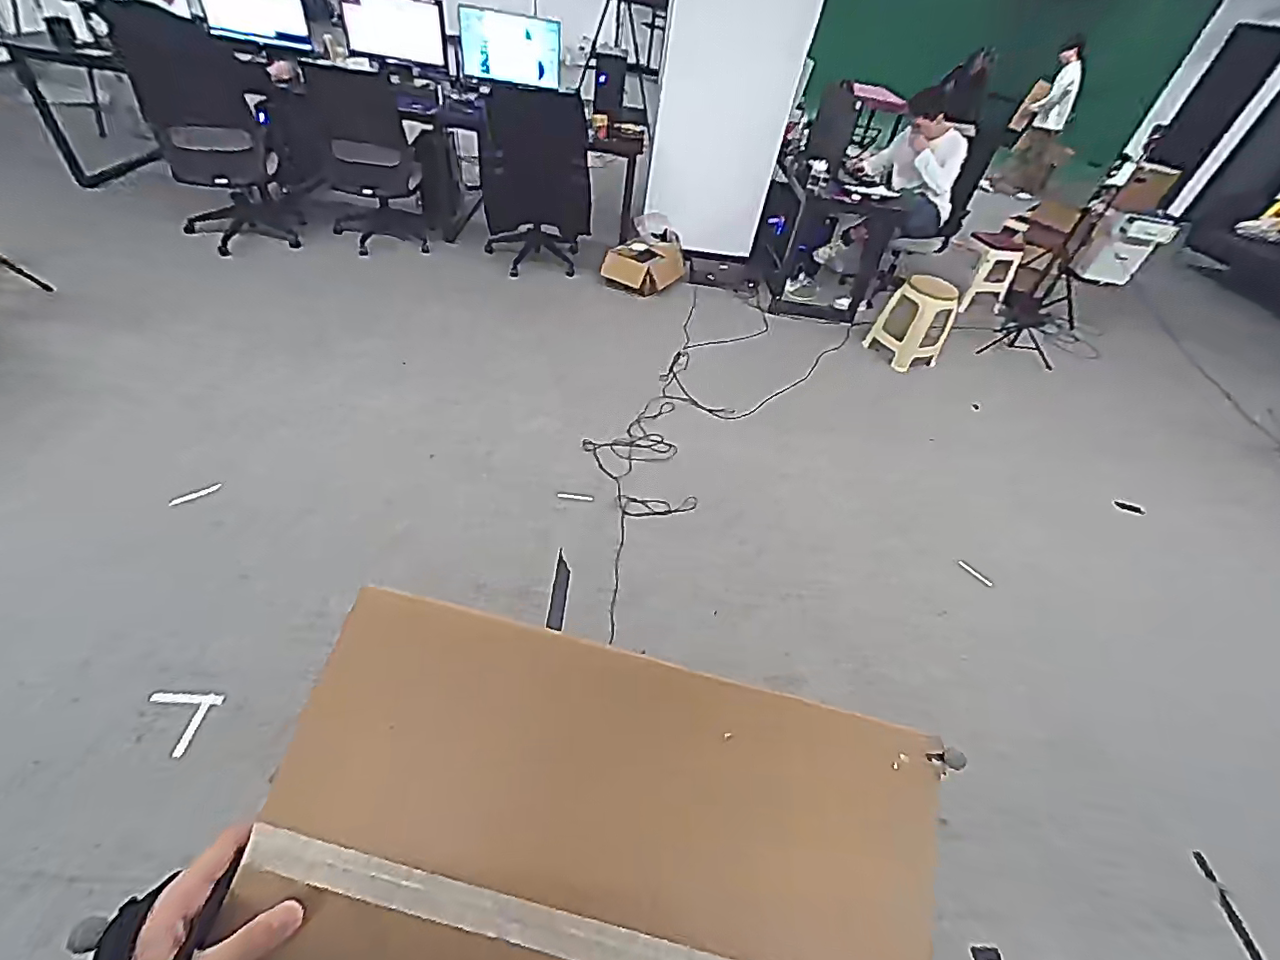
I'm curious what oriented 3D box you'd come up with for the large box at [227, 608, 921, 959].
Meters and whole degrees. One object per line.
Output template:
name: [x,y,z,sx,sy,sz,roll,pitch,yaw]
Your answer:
large box: [-0.042,0.324,0.463,0.408,0.320,0.320,14,70,2]
